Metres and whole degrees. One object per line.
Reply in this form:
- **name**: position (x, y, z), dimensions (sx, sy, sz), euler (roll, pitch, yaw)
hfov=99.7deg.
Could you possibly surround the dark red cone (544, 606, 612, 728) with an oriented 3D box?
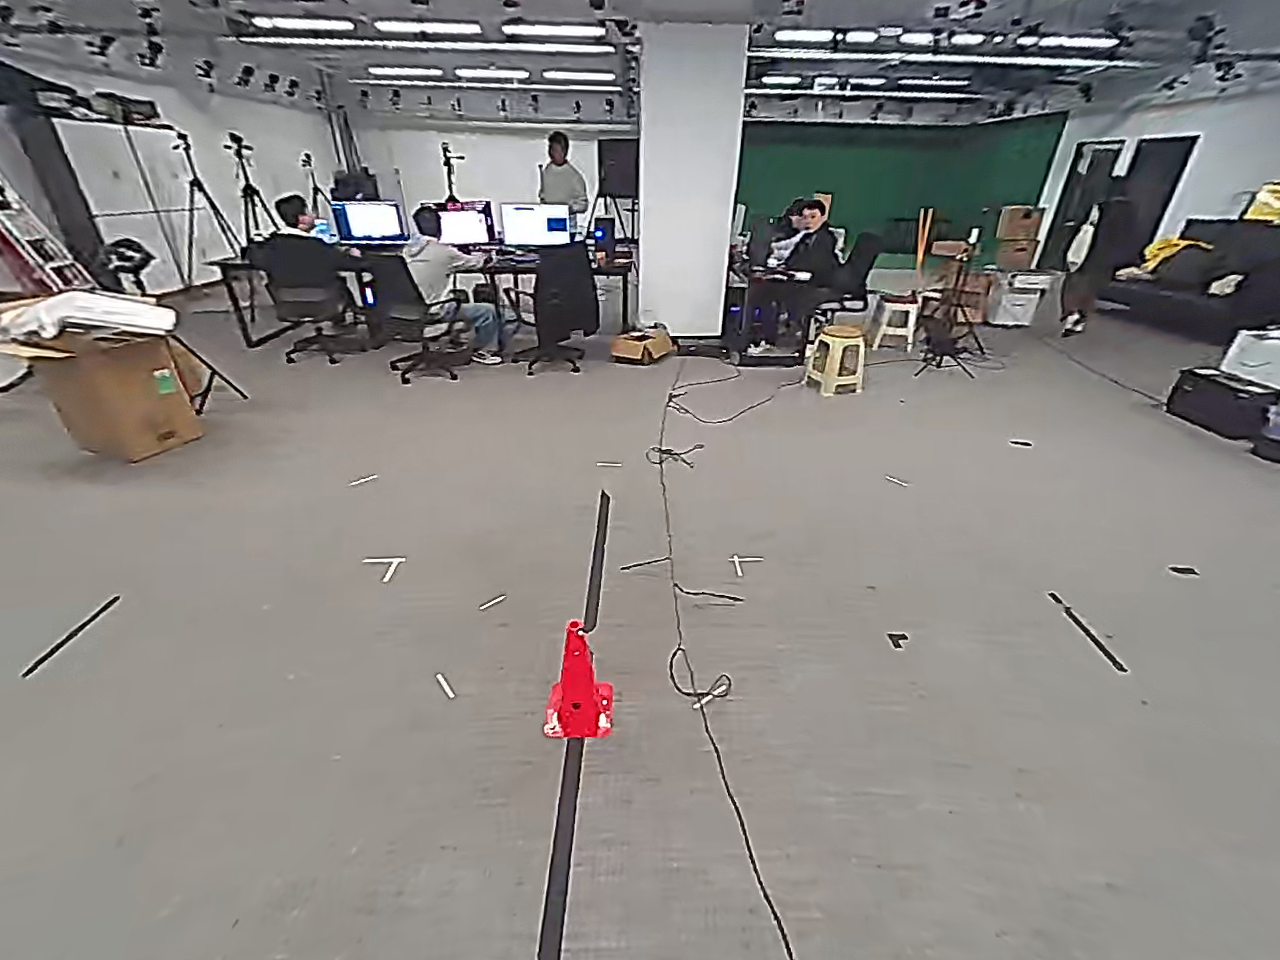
- **dark red cone**: position (-0.182, 0.534, 1.591), dimensions (0.201, 0.394, 0.202), euler (2, 29, -2)
